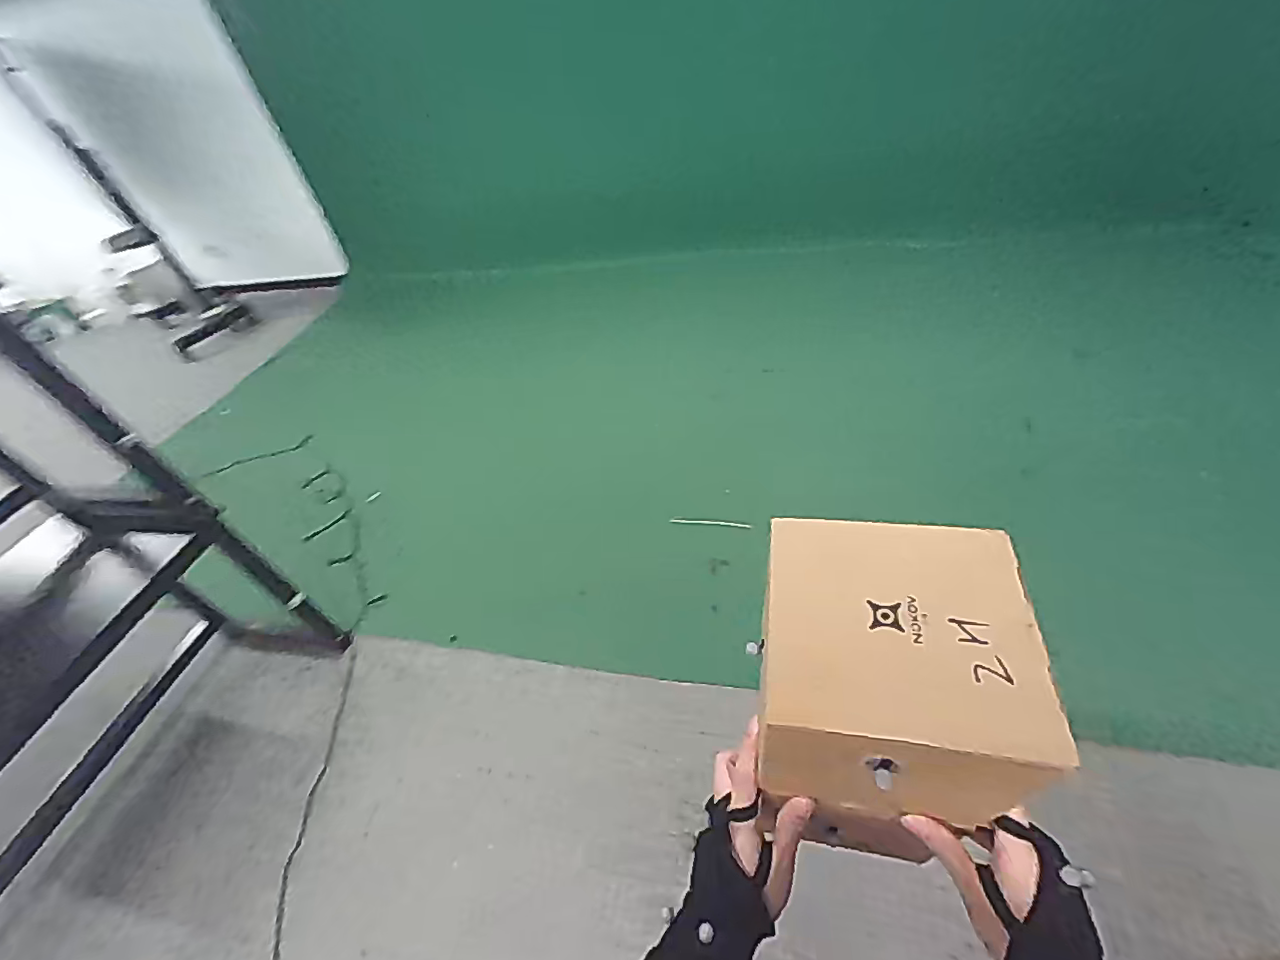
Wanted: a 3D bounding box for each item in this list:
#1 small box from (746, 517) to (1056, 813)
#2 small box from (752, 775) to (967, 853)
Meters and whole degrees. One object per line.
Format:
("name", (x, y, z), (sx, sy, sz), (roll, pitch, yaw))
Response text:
("small box", (0.178, 0.148, 0.433), (0.179, 0.176, 0.168), (3, 49, 12))
("small box", (0.205, 0.255, 0.556), (0.168, 0.176, 0.179), (3, 50, 12))
